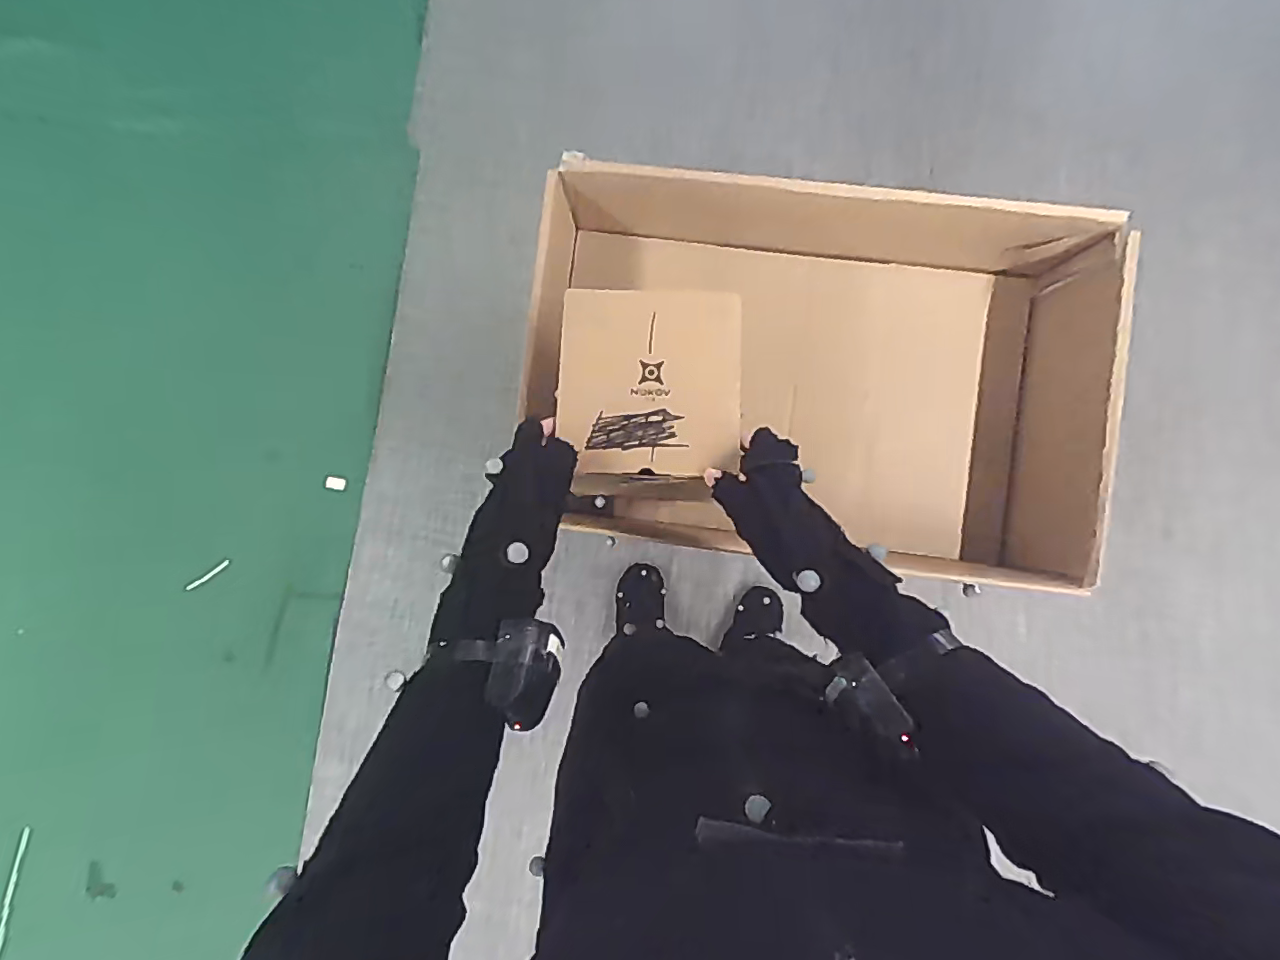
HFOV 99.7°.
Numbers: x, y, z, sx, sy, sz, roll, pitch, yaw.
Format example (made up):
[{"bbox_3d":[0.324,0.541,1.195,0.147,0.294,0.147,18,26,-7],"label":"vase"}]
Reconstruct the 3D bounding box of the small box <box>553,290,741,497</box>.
[{"bbox_3d":[0.010,-0.078,0.571,0.168,0.176,0.179,3,81,1],"label":"small box"}]
